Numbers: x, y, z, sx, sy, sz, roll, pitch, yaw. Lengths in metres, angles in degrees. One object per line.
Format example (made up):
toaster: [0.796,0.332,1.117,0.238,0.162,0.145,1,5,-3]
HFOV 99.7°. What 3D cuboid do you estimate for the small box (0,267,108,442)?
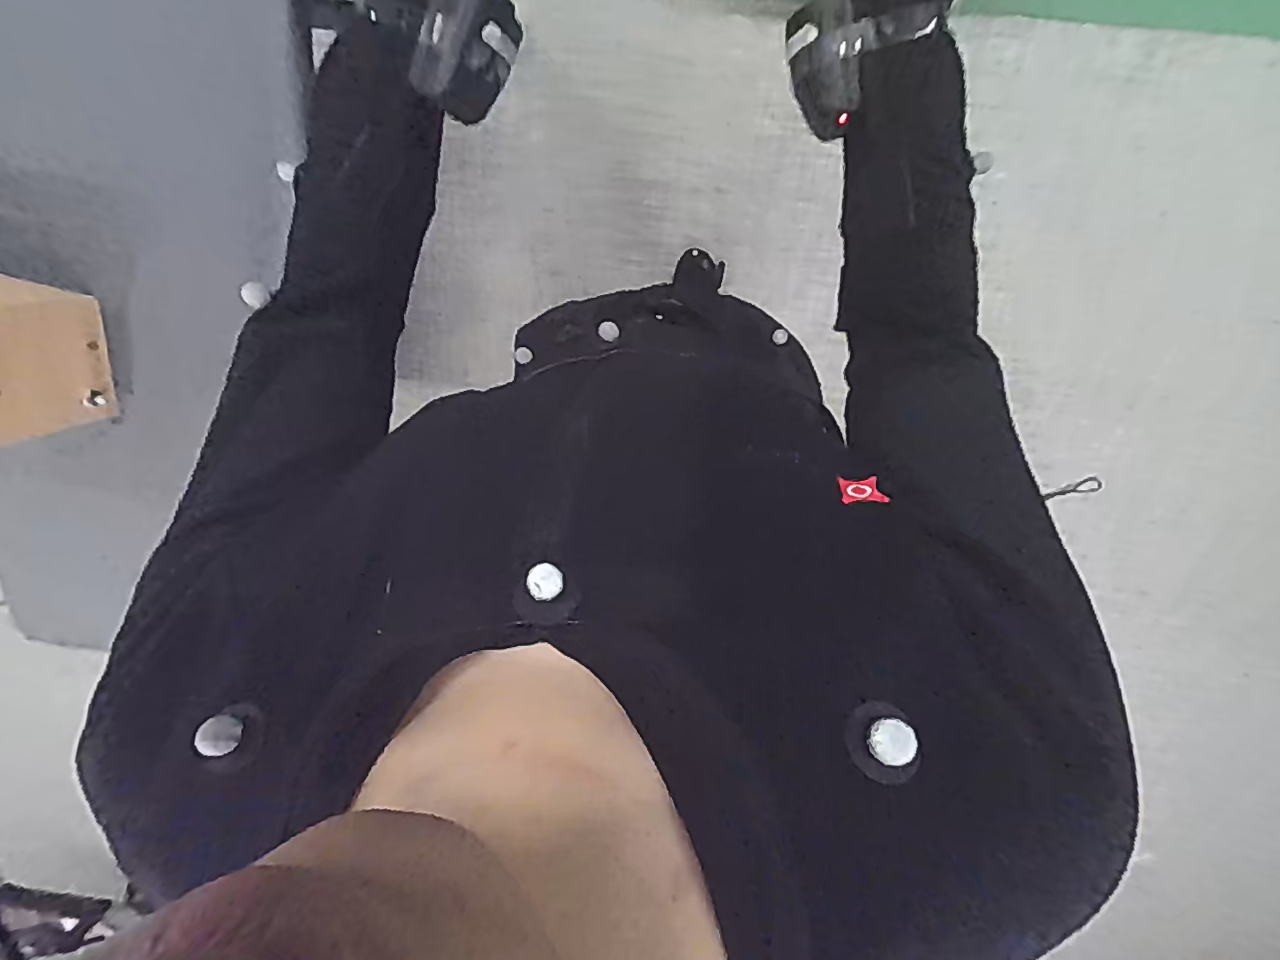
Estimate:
small box: [-0.816,-0.164,0.666,0.179,0.176,0.168,14,114,0]
